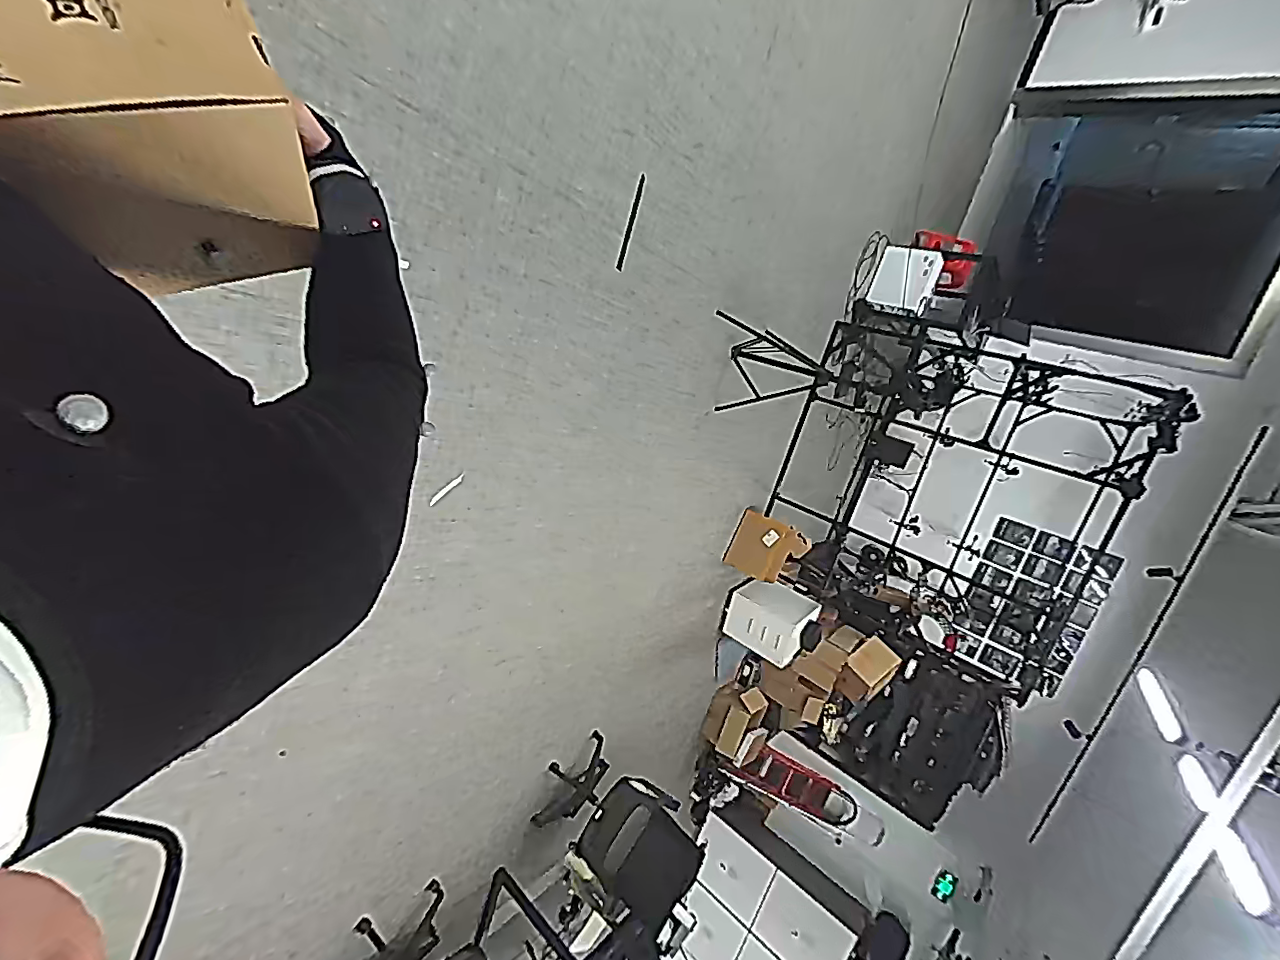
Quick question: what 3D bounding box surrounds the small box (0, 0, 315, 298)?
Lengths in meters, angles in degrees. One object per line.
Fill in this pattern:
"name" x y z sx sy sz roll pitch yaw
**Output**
"small box" -0.389 -0.277 0.437 0.179 0.168 0.176 -26 171 -28
